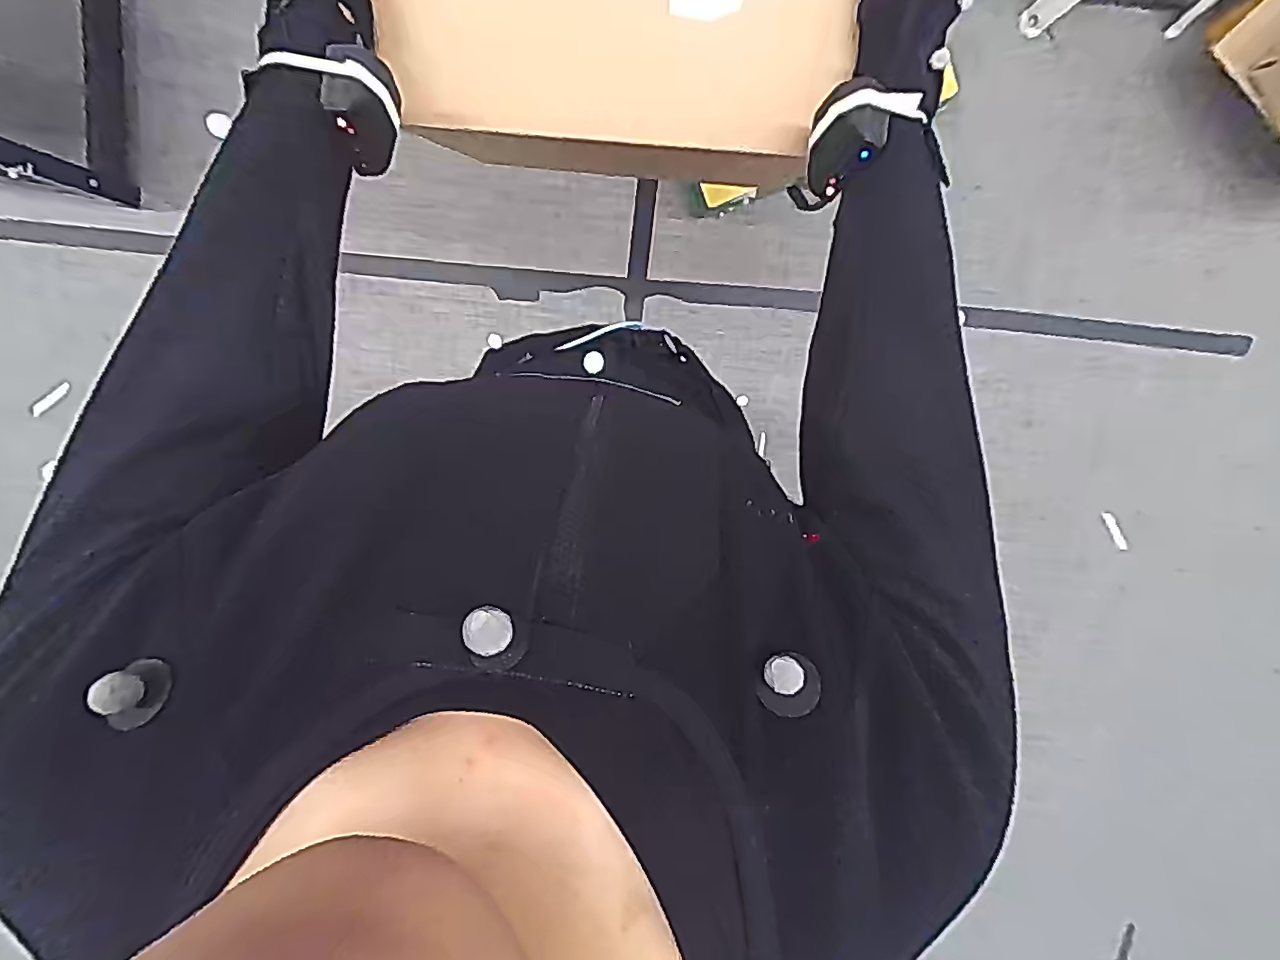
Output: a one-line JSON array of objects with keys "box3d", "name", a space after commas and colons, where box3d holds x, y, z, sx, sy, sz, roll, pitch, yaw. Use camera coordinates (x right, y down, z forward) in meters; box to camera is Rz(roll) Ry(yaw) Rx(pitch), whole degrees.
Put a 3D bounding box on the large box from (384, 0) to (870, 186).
[{"box3d": [-0.008, -0.499, 0.554, 0.408, 0.320, 0.320, 4, 115, -1], "name": "large box"}]
